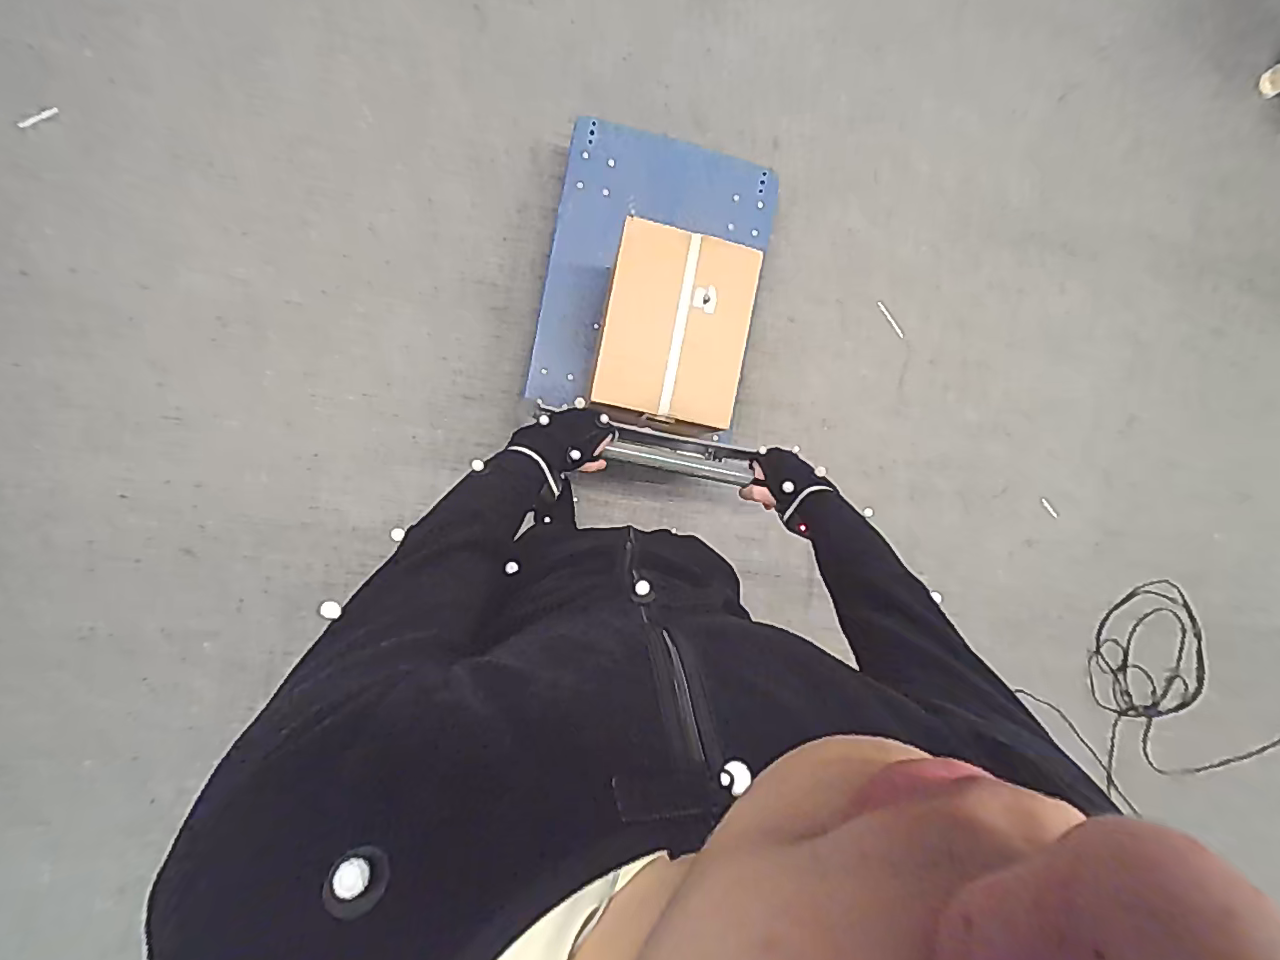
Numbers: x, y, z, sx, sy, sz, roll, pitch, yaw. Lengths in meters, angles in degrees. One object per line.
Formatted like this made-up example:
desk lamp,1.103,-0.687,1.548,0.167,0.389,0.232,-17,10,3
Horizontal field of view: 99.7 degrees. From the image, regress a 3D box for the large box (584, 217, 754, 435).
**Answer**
large box,0.051,-0.338,1.312,0.320,0.320,0.408,10,89,-10
